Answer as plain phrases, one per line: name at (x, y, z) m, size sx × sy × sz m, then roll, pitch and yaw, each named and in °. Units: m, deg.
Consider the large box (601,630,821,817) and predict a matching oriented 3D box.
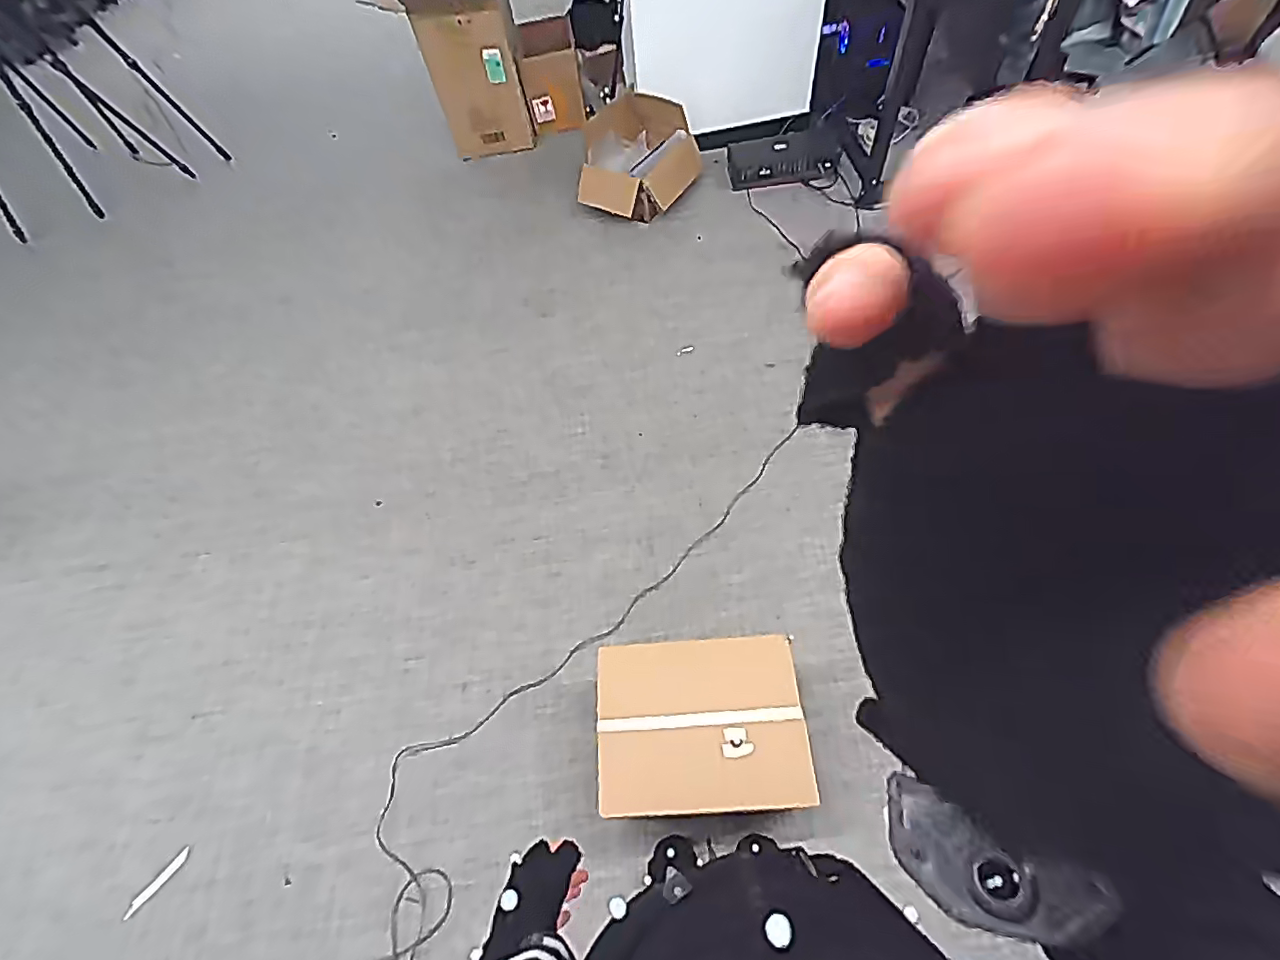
large box at (0.134, 0.544, 1.189) m, size 0.408 × 0.320 × 0.320 m, roll -5°, pitch 58°, yaw 3°
